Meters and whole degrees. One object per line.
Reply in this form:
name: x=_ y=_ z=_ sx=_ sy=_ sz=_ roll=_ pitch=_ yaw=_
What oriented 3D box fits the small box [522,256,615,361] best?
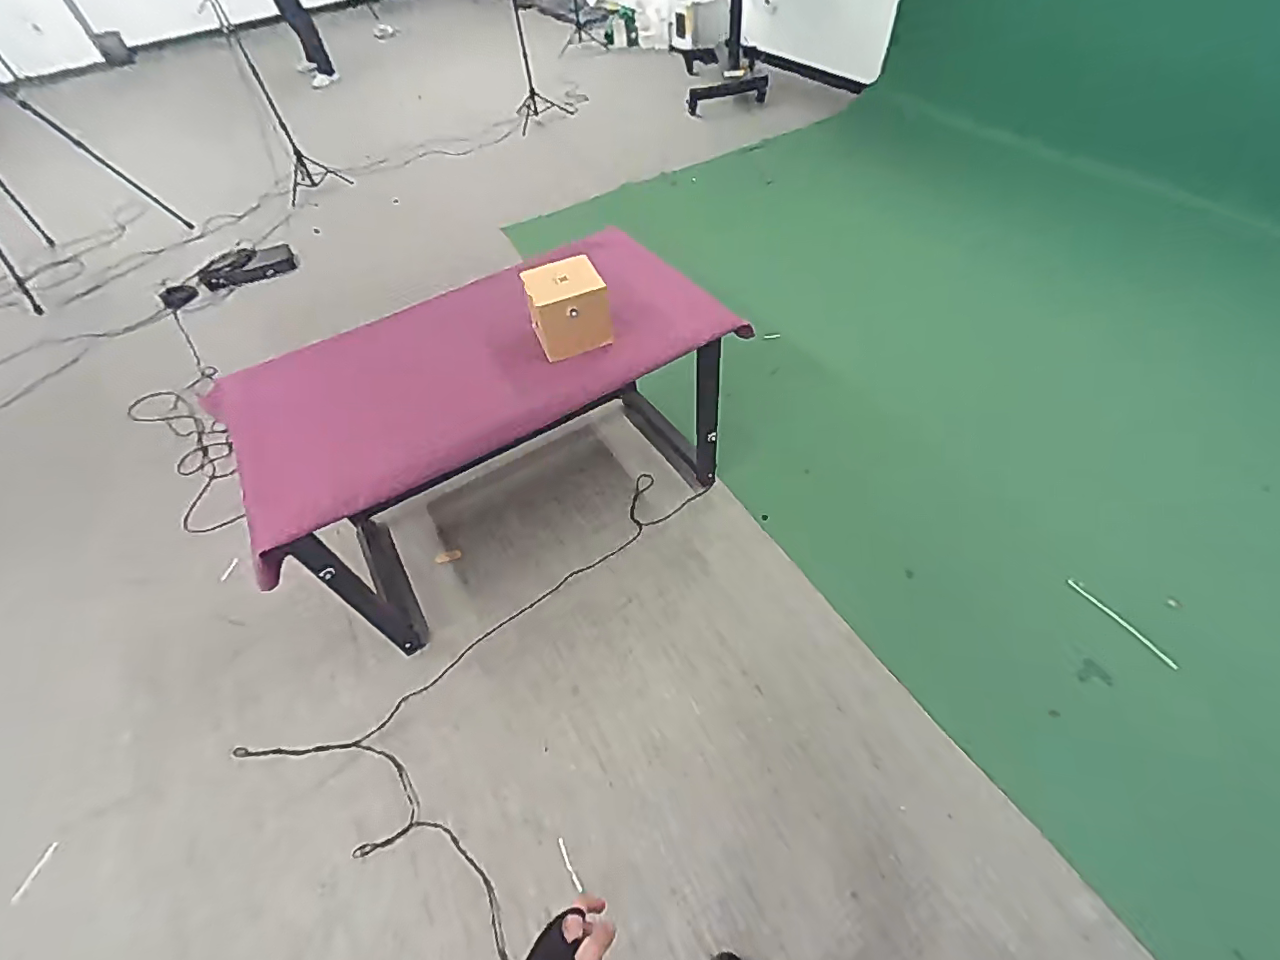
small box: x=-0.175 y=-0.424 z=1.351 sx=0.179 sy=0.176 sz=0.168 roll=-19 pitch=53 yaw=-10
